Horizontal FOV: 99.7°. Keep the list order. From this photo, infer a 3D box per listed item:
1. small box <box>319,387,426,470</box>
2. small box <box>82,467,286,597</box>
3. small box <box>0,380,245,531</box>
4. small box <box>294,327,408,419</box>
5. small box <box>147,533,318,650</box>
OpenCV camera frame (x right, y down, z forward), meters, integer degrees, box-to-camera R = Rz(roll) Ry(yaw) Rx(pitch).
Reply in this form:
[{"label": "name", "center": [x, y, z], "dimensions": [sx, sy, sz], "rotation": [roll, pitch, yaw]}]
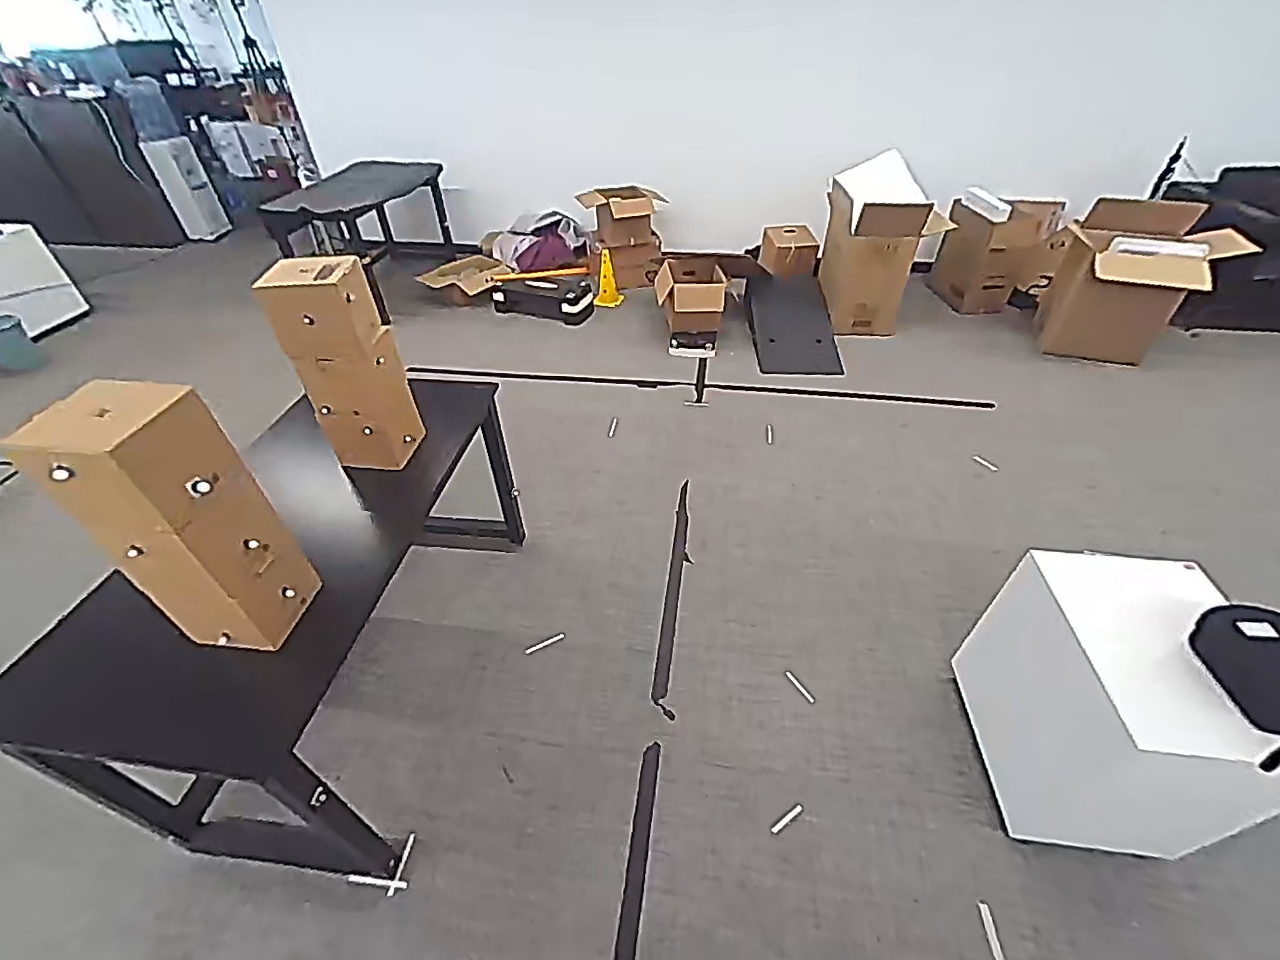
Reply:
[{"label": "small box", "center": [-0.708, -0.141, 1.451], "dimensions": [0.179, 0.176, 0.168], "rotation": [4, 42, 5]}, {"label": "small box", "center": [-0.774, 0.087, 0.941], "dimensions": [0.179, 0.176, 0.168], "rotation": [4, 42, 5]}, {"label": "small box", "center": [-0.774, -0.037, 0.835], "dimensions": [0.179, 0.176, 0.168], "rotation": [4, 43, 5]}, {"label": "small box", "center": [-0.703, -0.264, 1.342], "dimensions": [0.168, 0.176, 0.179], "rotation": [2, 41, 2]}, {"label": "small box", "center": [-0.771, 0.211, 1.050], "dimensions": [0.179, 0.176, 0.168], "rotation": [4, 41, 4]}]
